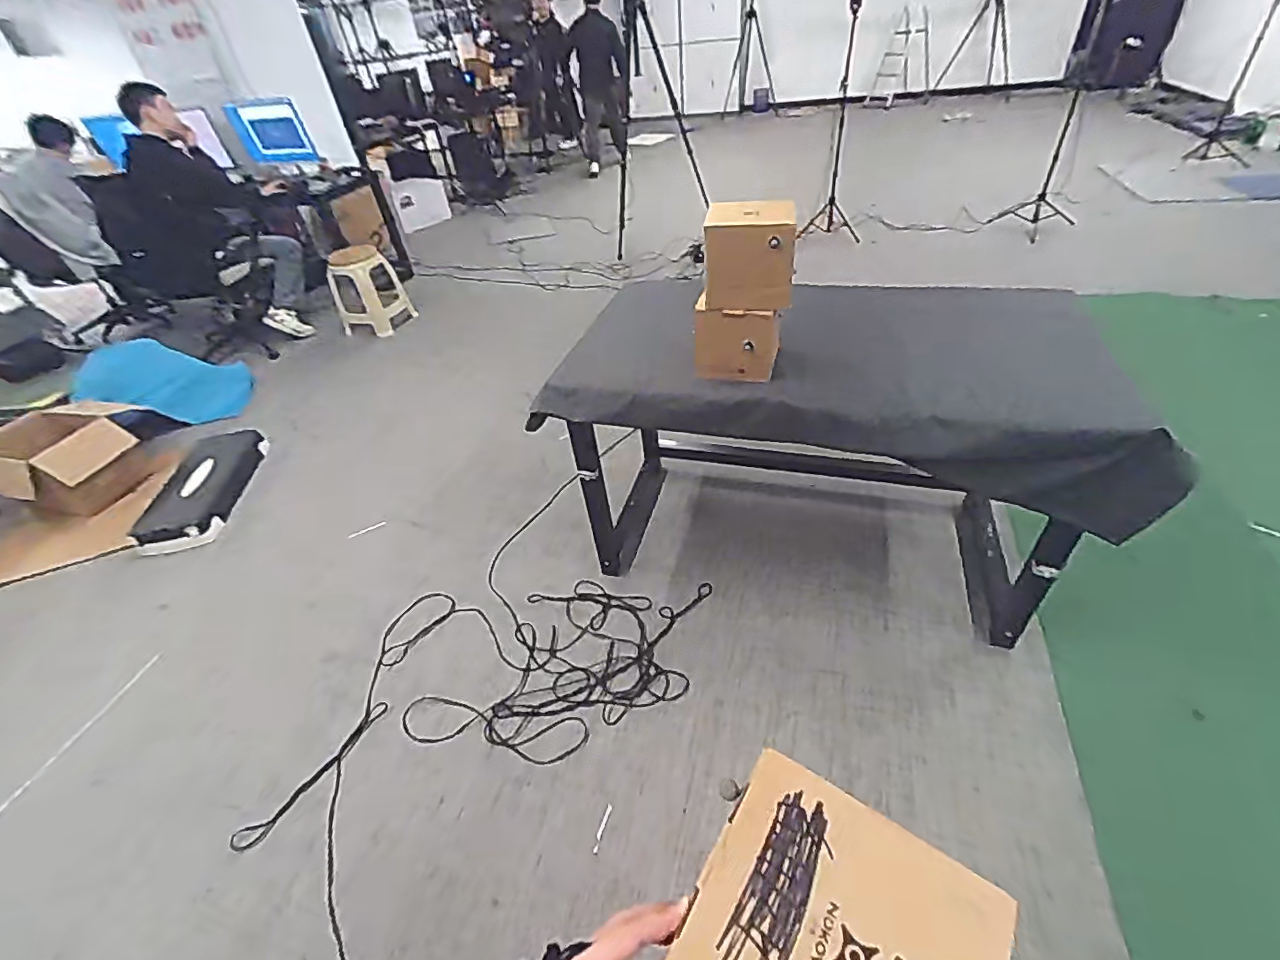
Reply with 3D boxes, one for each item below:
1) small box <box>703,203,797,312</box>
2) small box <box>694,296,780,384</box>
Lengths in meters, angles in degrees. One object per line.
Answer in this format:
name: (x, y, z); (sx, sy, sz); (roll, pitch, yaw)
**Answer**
small box: (0.225, -0.457, 1.116); (0.179, 0.176, 0.168); (3, 41, 11)
small box: (0.224, -0.333, 1.223); (0.168, 0.176, 0.179); (9, 42, 16)
